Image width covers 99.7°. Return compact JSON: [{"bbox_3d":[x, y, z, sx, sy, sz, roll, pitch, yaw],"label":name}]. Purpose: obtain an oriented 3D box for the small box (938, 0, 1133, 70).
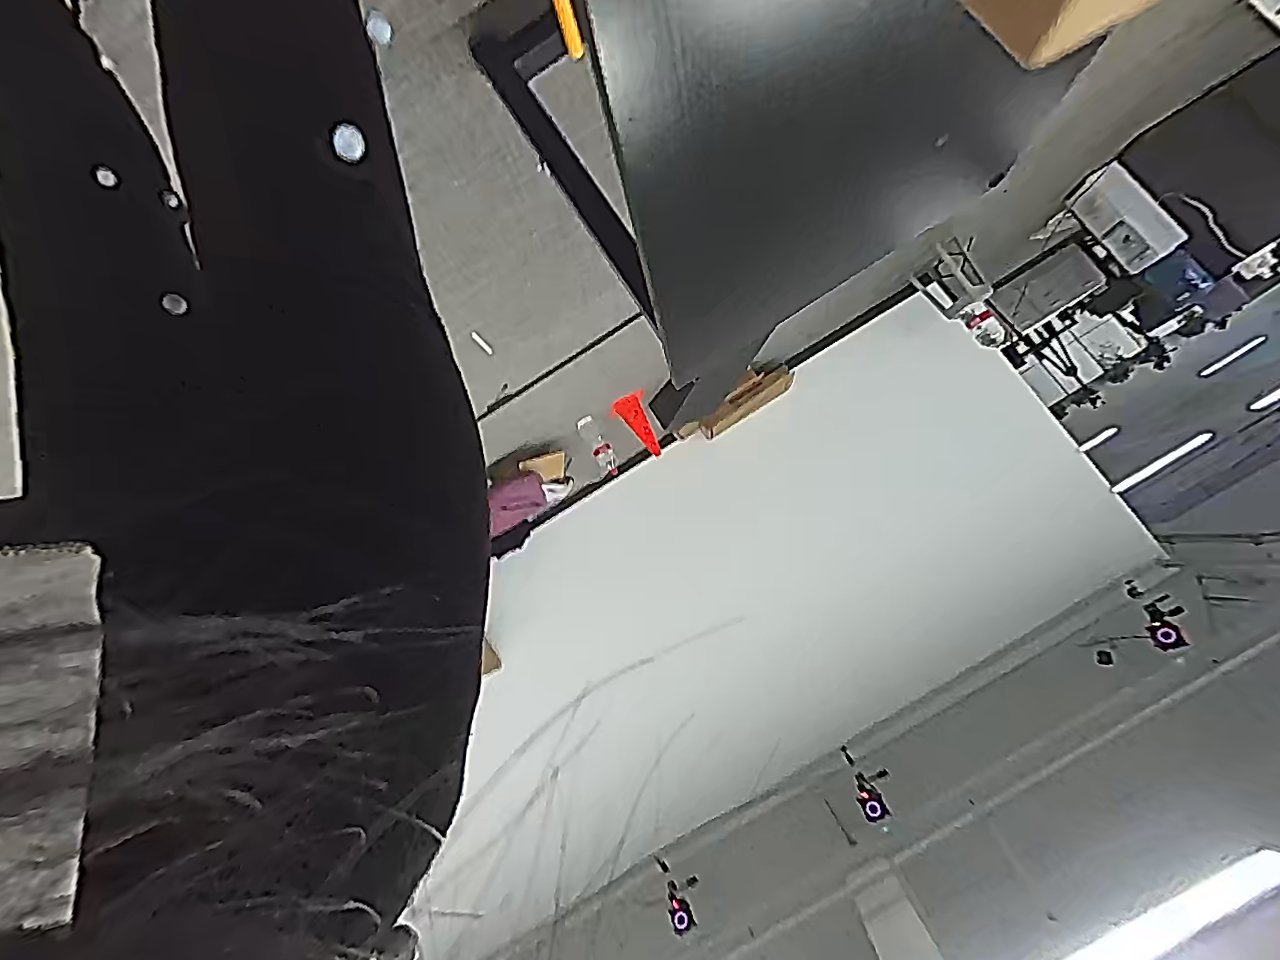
[{"bbox_3d":[0.184,-0.305,0.174,0.179,0.176,0.168,-31,169,1],"label":"small box"}]
